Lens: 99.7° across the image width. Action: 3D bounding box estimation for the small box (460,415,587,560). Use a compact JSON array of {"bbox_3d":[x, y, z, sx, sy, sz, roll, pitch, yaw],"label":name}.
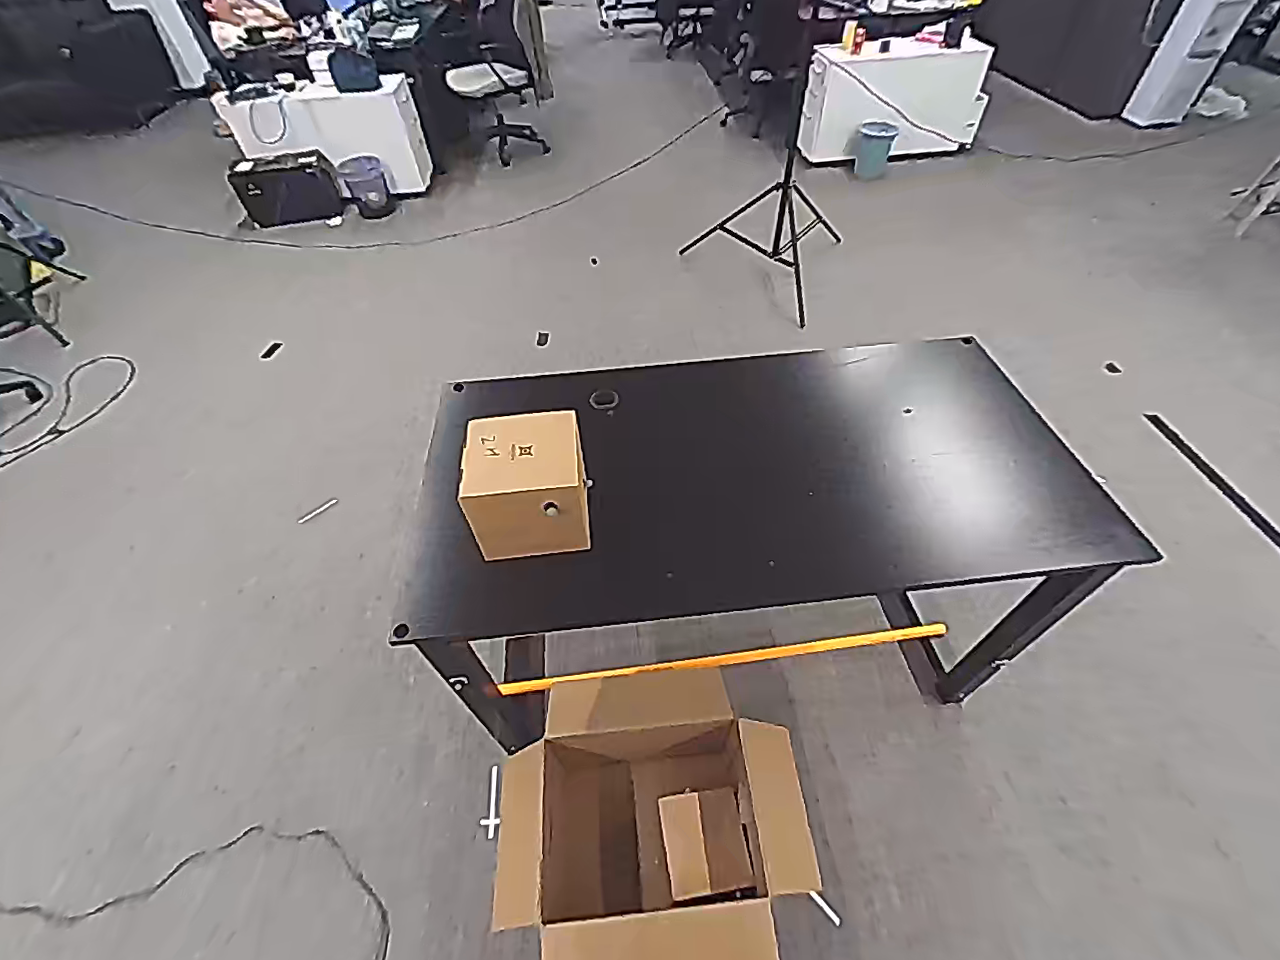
[{"bbox_3d":[-0.180,0.015,0.893,0.179,0.176,0.168,-6,49,-3],"label":"small box"}]
